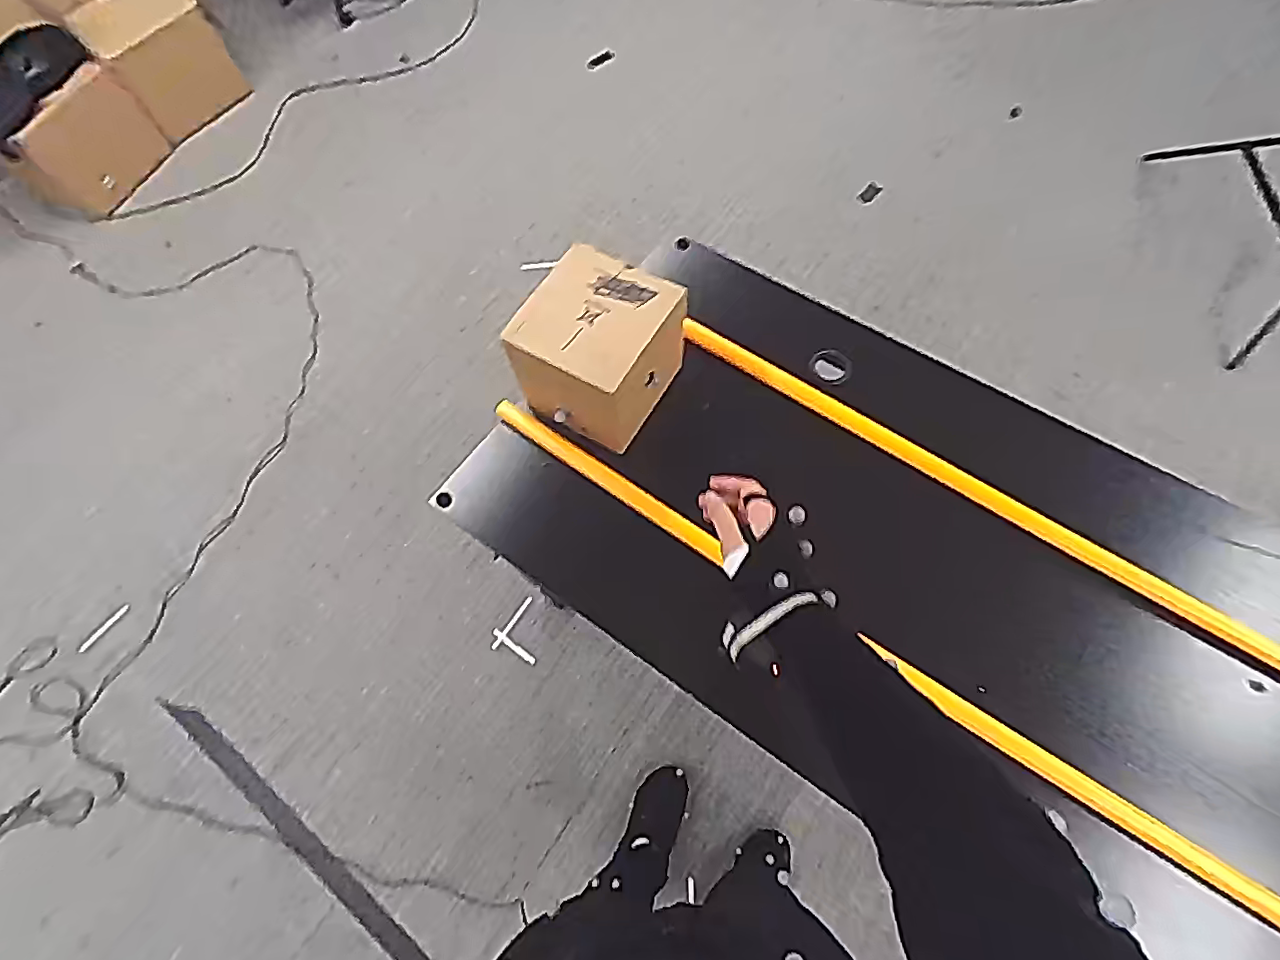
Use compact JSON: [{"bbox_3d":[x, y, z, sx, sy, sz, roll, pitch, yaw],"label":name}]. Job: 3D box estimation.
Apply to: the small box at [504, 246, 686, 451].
[{"bbox_3d":[-0.054,-0.172,0.740,0.168,0.176,0.179,28,72,13],"label":"small box"}]
